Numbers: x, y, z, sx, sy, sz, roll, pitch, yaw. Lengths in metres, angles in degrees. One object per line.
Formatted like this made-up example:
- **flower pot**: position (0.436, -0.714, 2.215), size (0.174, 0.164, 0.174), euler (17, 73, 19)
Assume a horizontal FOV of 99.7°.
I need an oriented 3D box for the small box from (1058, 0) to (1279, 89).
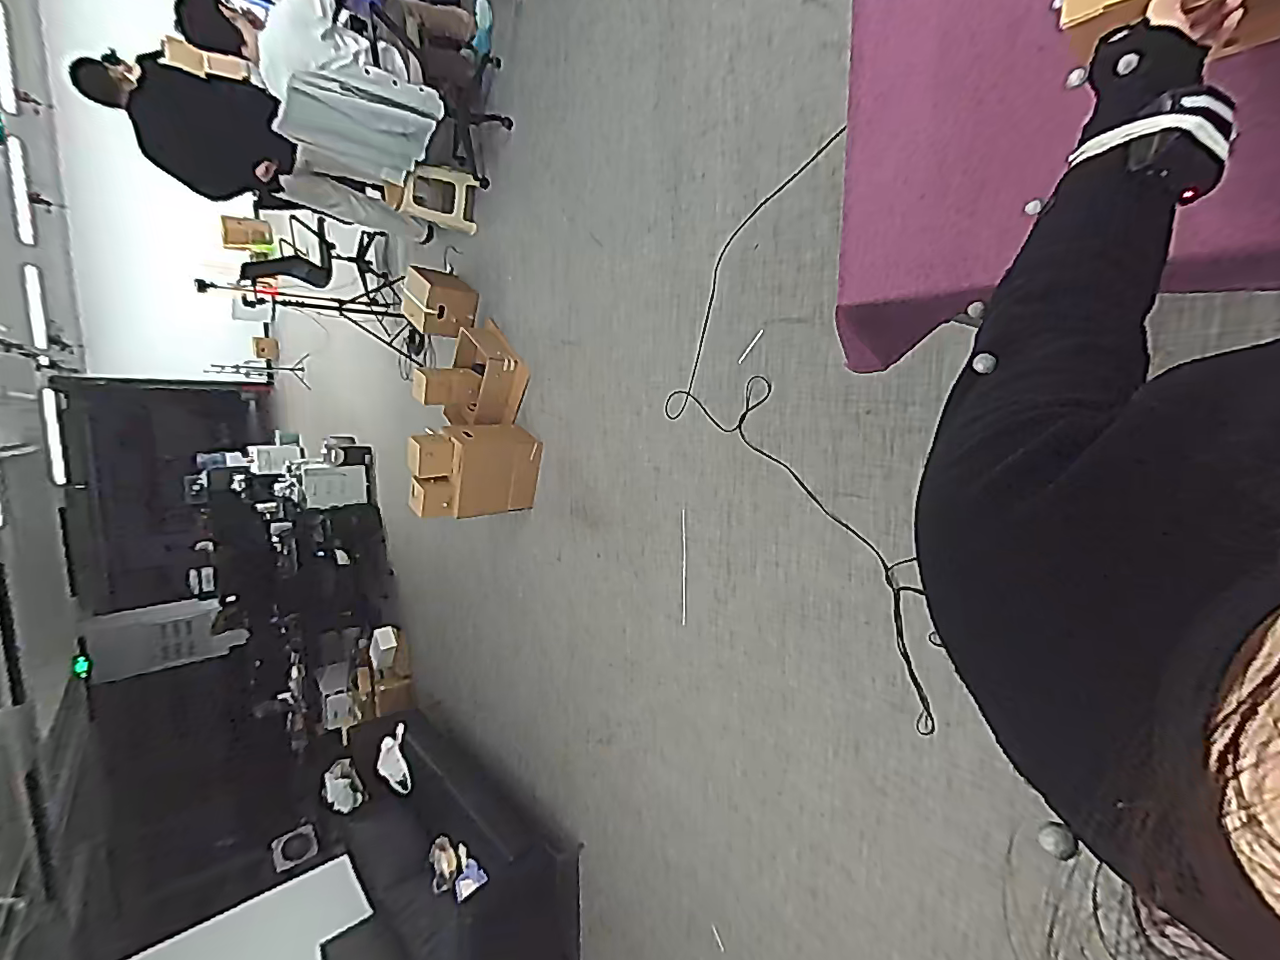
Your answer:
- **small box**: position (0.515, -0.513, 0.498), size (0.168, 0.176, 0.179), euler (10, 103, 48)
